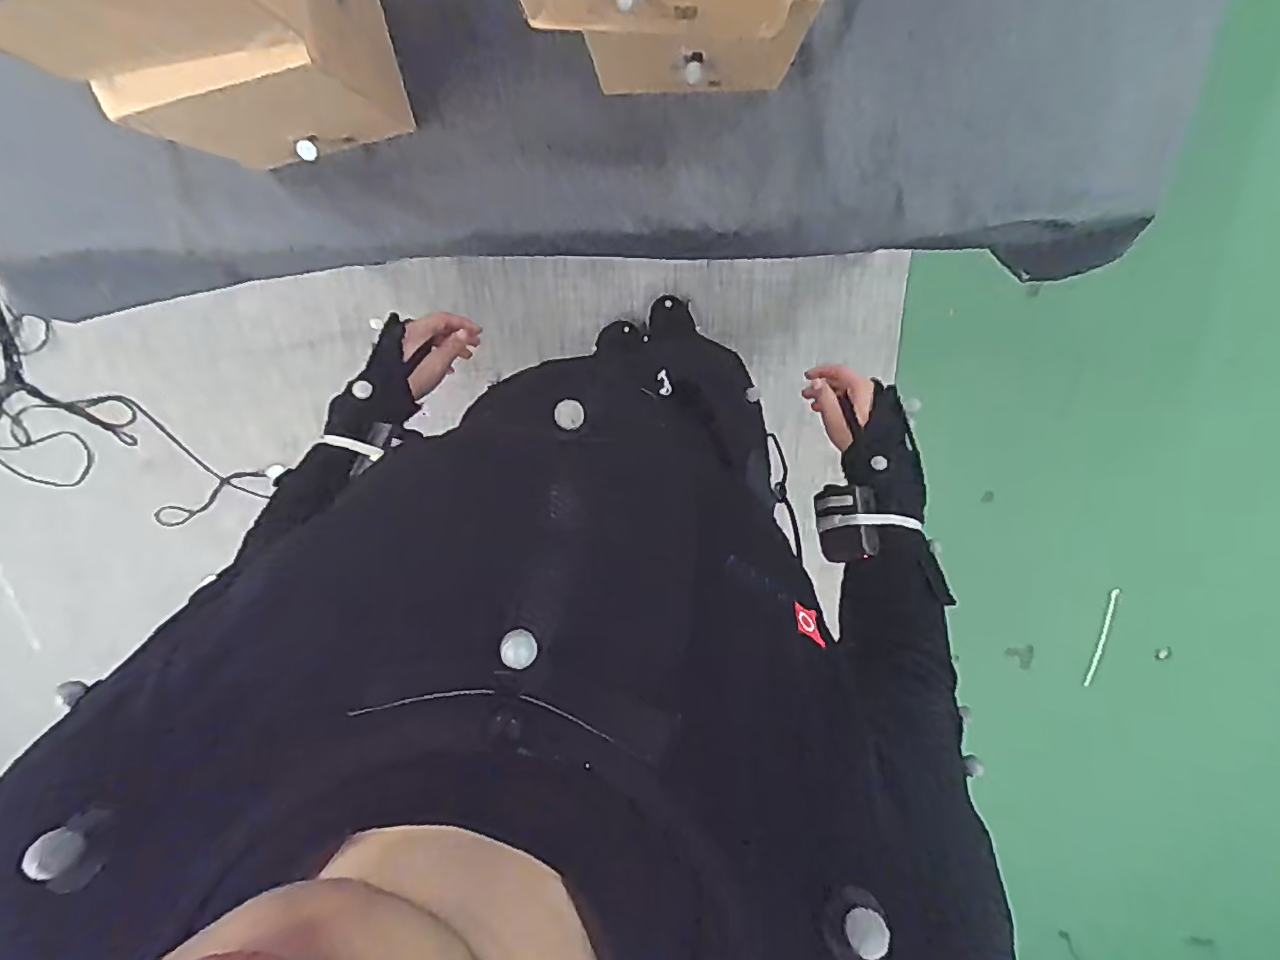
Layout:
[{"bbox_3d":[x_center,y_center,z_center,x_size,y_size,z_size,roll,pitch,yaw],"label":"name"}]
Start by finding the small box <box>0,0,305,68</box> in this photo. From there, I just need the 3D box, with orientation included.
[{"bbox_3d":[-0.320,-0.340,0.271,0.179,0.176,0.168,-7,110,4],"label":"small box"}]

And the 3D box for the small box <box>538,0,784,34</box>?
[{"bbox_3d":[0.009,-0.354,0.252,0.168,0.176,0.179,3,110,1],"label":"small box"}]

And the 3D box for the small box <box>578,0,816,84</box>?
[{"bbox_3d":[0.040,-0.419,0.401,0.168,0.176,0.179,0,110,3],"label":"small box"}]

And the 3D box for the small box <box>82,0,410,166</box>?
[{"bbox_3d":[-0.316,-0.379,0.429,0.168,0.176,0.179,-10,109,6],"label":"small box"}]
